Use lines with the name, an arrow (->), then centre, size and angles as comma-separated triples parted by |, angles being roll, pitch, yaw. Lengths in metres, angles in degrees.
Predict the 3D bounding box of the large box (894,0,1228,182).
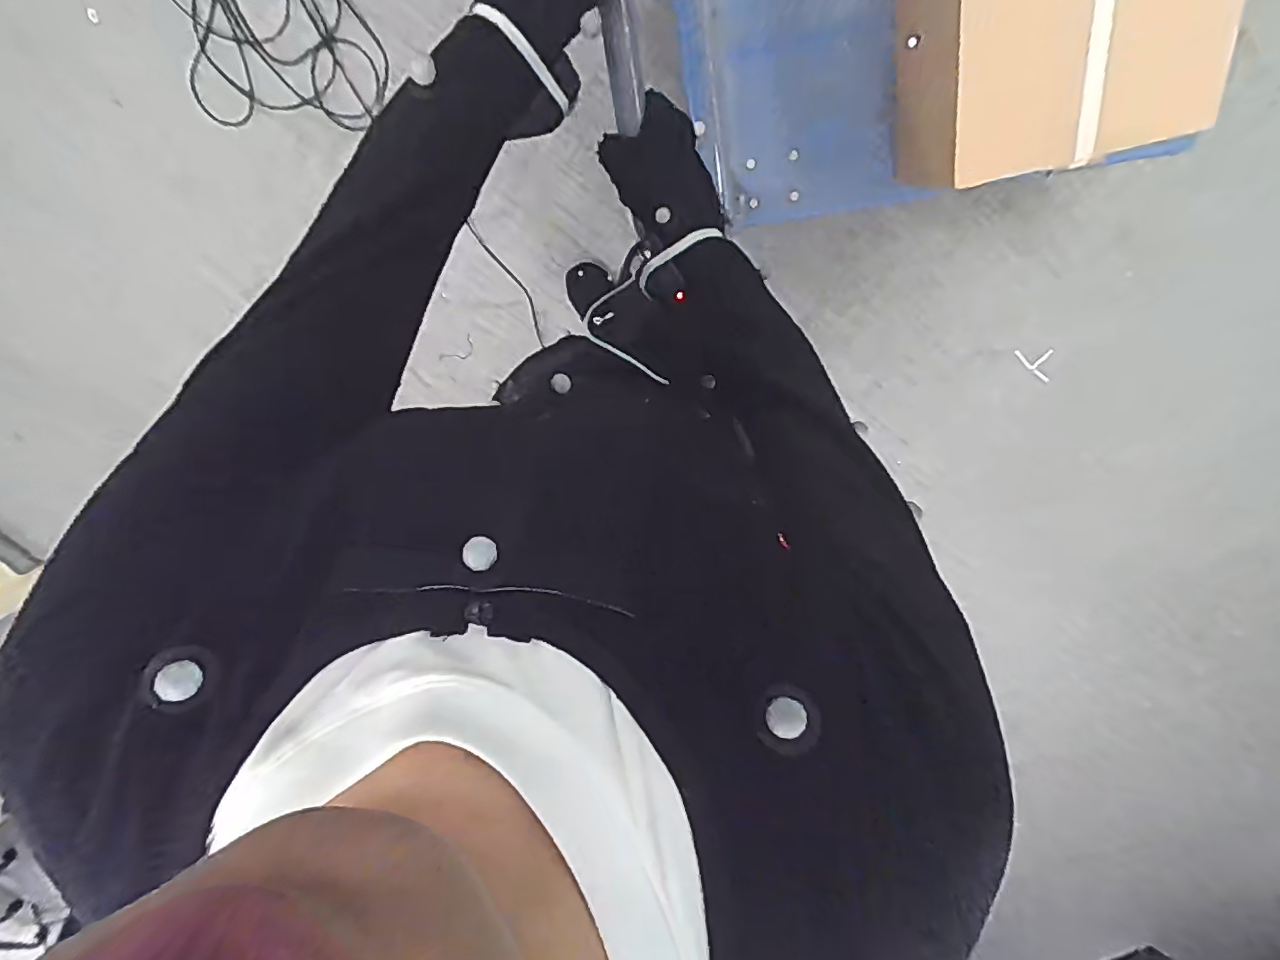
large box -> 0.570, -0.699, 0.785 | 0.320, 0.320, 0.408 | -9, 119, 14
